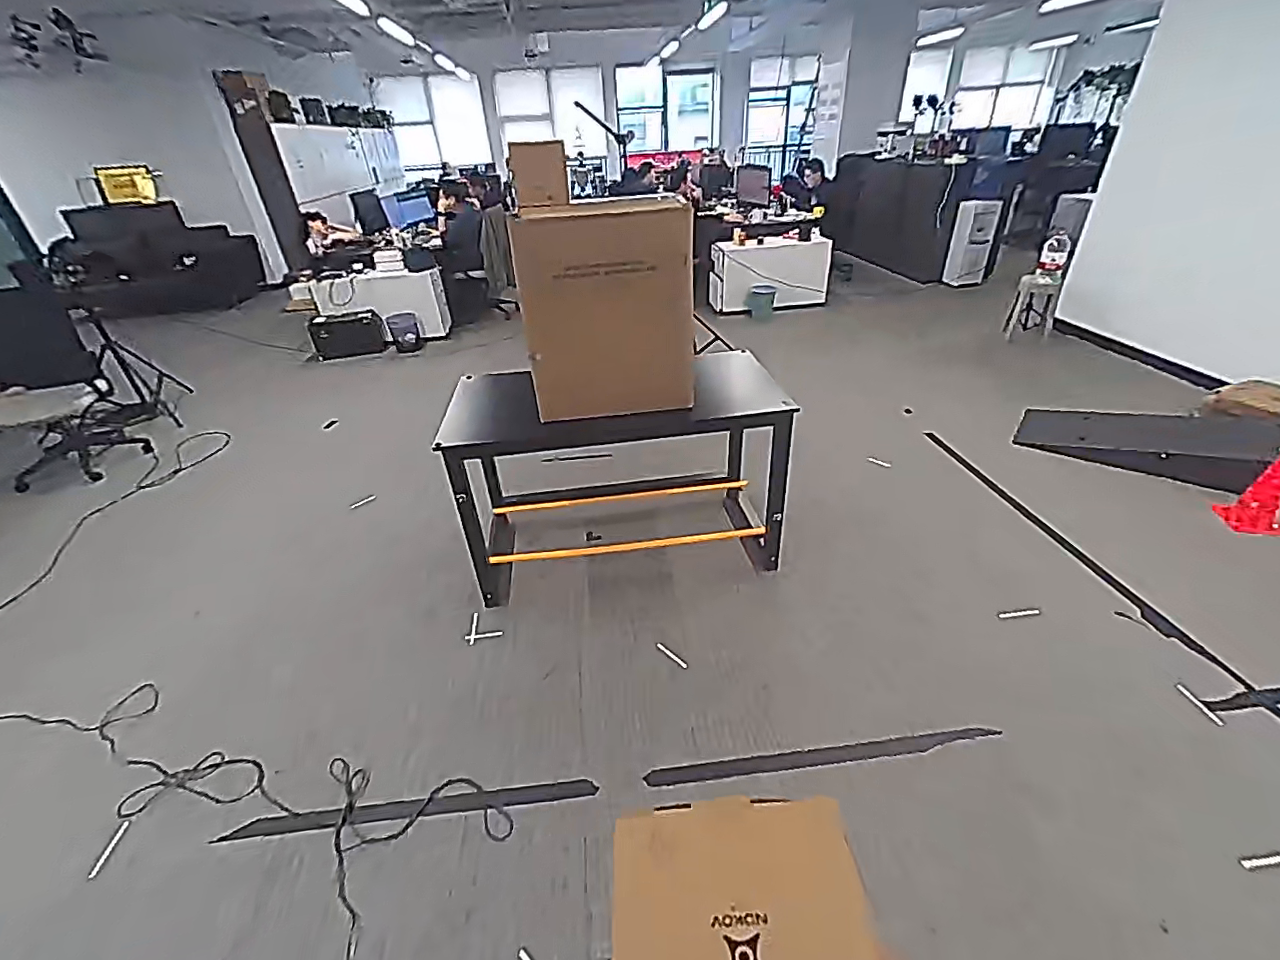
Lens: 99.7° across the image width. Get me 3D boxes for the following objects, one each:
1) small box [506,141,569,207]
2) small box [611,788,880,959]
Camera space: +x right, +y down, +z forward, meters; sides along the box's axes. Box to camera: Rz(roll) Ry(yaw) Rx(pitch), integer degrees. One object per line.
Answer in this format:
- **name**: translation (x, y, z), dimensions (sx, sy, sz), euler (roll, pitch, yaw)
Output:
- **small box**: translation (-0.313, -0.944, 1.672), dimensions (0.168, 0.176, 0.179), euler (-7, 31, -6)
- **small box**: translation (0.067, 0.350, 0.380), dimensions (0.168, 0.176, 0.179), euler (-4, 35, 1)
